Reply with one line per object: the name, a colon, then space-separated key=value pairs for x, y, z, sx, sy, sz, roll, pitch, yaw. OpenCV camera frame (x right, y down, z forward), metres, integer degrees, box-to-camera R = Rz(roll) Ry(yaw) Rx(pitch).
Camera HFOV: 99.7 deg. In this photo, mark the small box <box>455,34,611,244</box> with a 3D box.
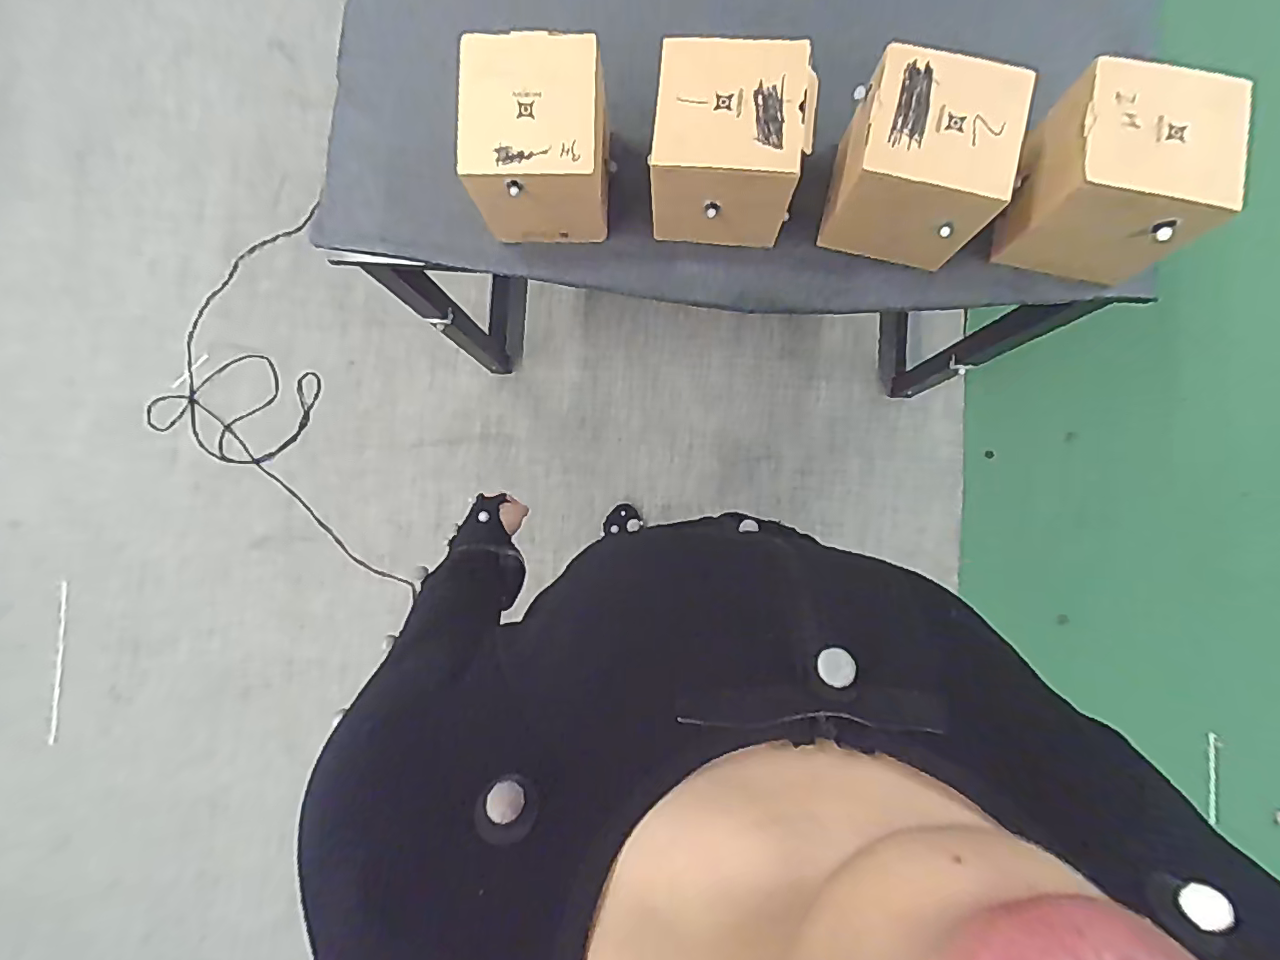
small box: x=-0.131 y=-0.442 z=0.721 sx=0.168 sy=0.176 sz=0.179 roll=2 pitch=87 yaw=3
